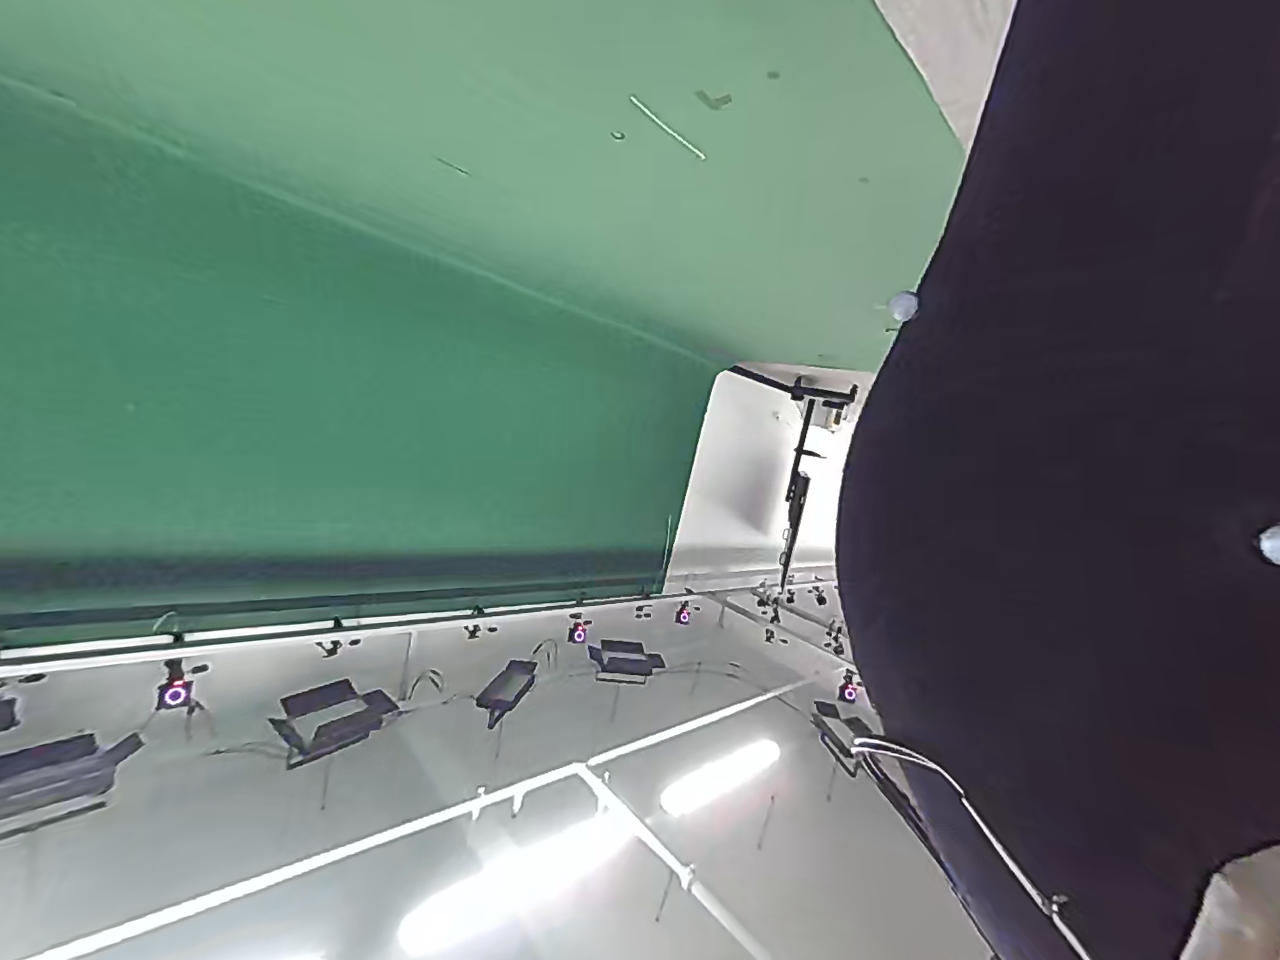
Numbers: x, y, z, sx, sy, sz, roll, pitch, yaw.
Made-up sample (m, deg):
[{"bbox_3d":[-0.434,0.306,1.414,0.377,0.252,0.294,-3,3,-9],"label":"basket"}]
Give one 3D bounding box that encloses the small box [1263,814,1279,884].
[{"bbox_3d":[1.841,1.029,1.458,0.168,0.176,0.179,9,-171,-40],"label":"small box"}]
